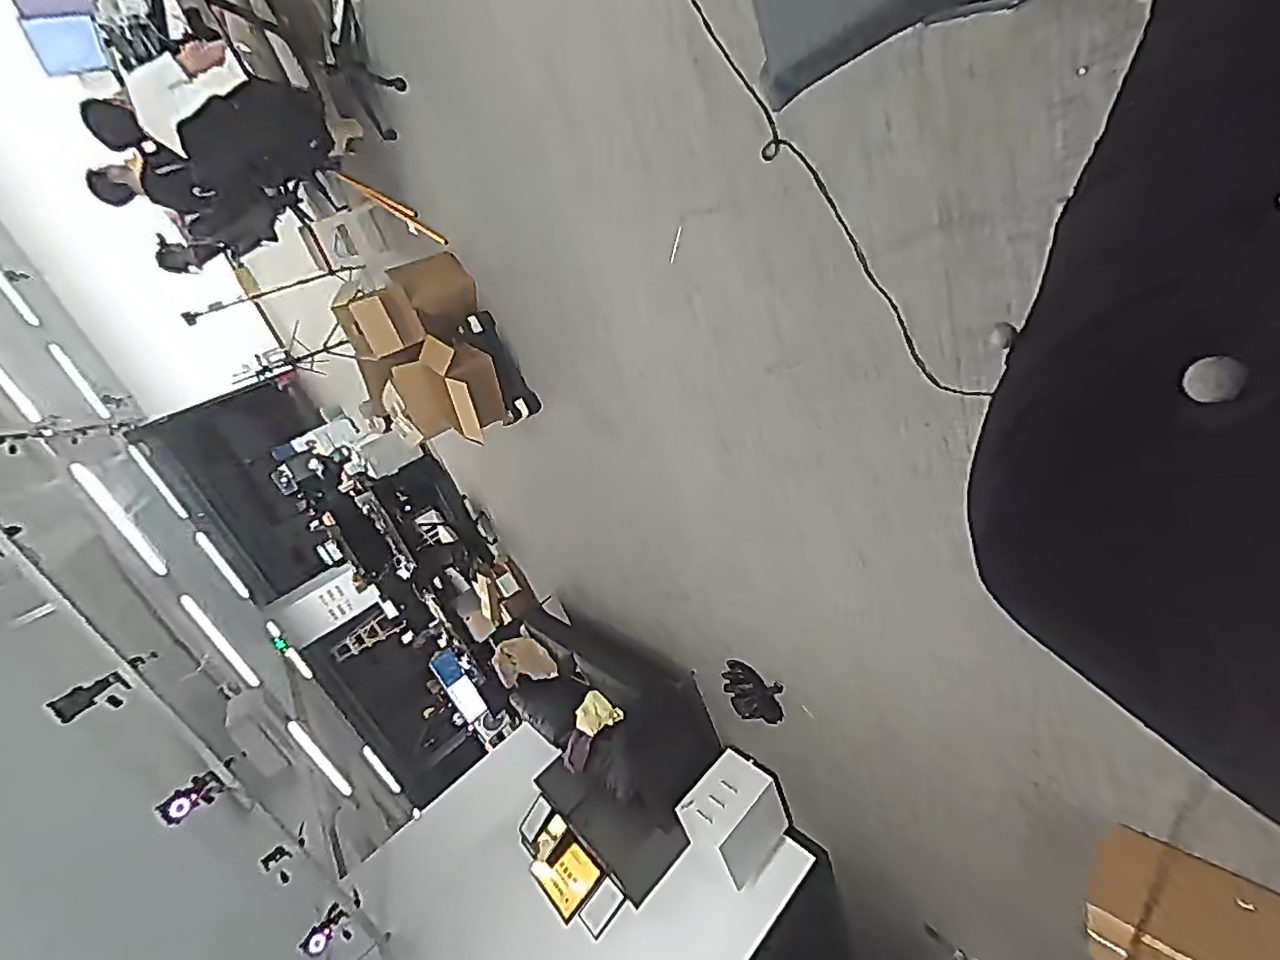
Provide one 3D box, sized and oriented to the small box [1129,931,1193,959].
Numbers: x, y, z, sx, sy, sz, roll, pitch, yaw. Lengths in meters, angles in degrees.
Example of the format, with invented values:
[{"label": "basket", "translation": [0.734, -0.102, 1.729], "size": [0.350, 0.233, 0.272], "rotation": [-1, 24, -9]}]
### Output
[{"label": "small box", "translation": [1.460, 1.409, 1.485], "size": [0.168, 0.176, 0.179], "rotation": [6, 124, 54]}]
